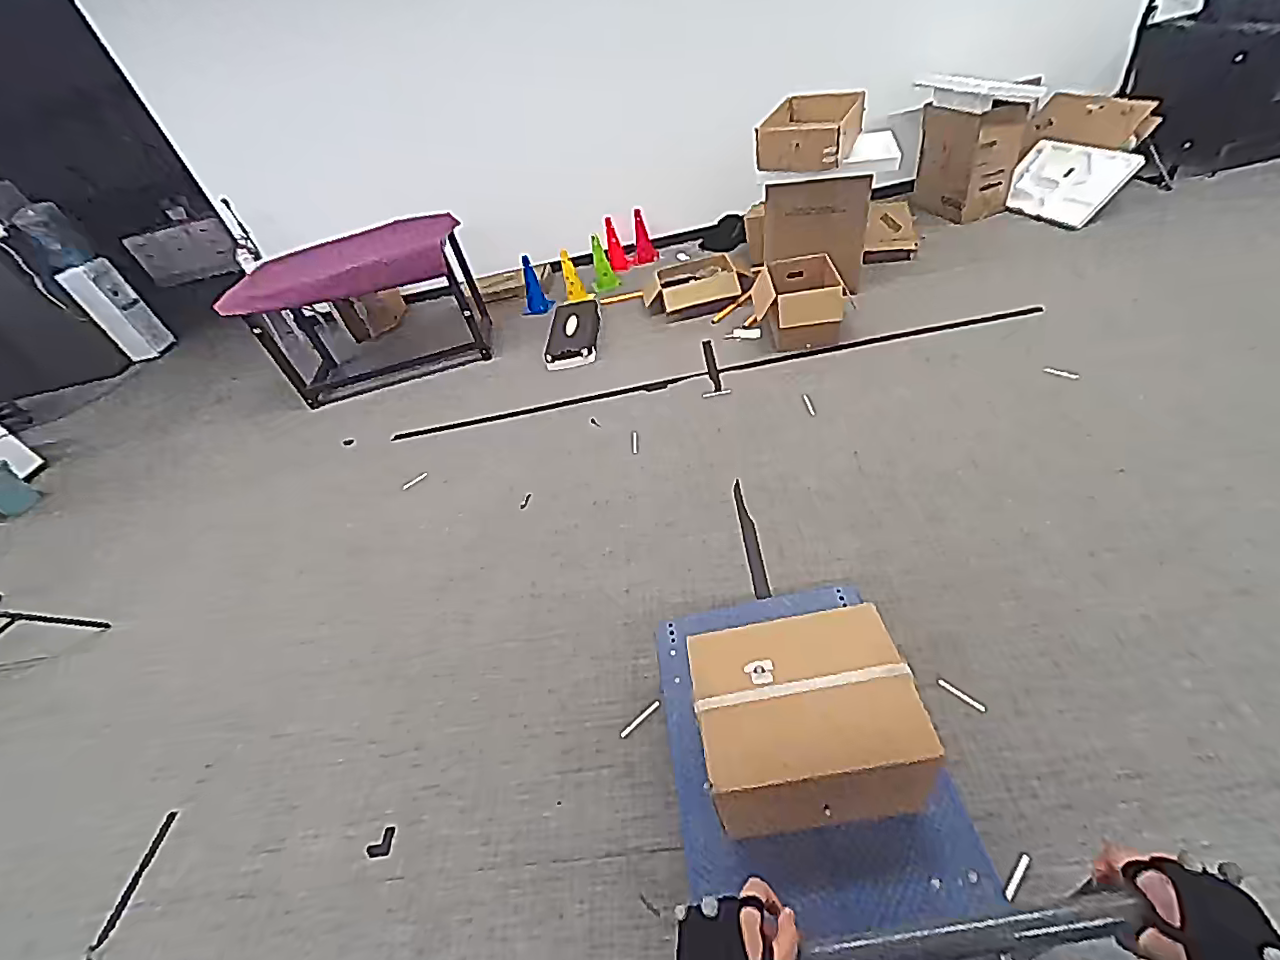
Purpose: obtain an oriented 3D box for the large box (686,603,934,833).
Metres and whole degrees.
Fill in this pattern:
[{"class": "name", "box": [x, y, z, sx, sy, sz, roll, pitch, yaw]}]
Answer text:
[{"class": "large box", "box": [0.340, 0.514, 1.160, 0.408, 0.320, 0.320, -13, 41, 5]}]
